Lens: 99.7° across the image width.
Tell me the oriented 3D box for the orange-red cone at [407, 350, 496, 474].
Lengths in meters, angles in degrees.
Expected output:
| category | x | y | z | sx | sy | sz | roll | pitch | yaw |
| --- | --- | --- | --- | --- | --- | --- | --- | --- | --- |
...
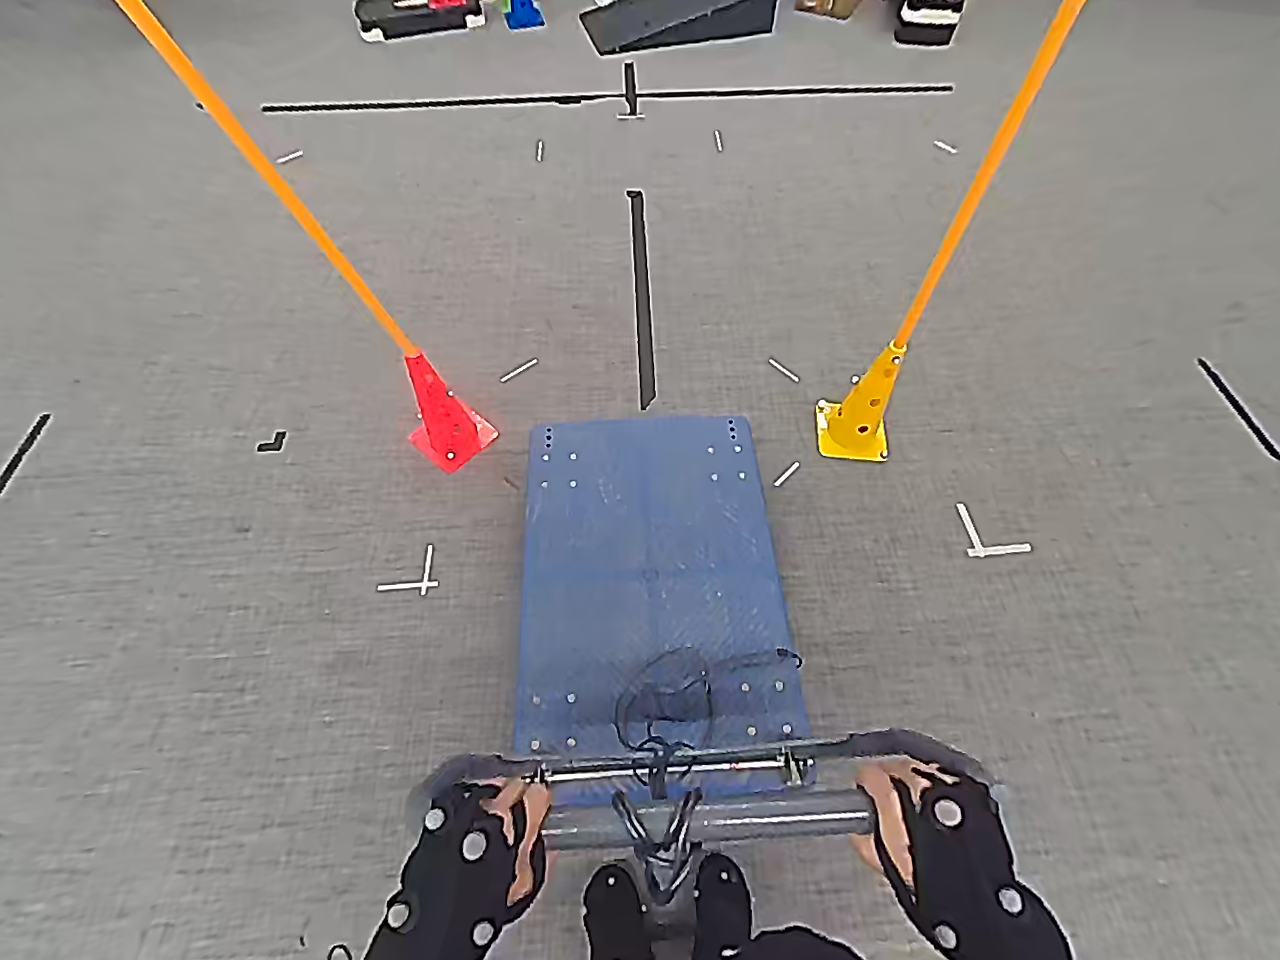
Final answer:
| category | x | y | z | sx | sy | sz | roll | pitch | yaw |
| --- | --- | --- | --- | --- | --- | --- | --- | --- | --- |
| orange-red cone | -0.551 | -0.212 | 1.460 | 0.198 | 0.360 | 0.199 | 39 | 65 | 19 |
